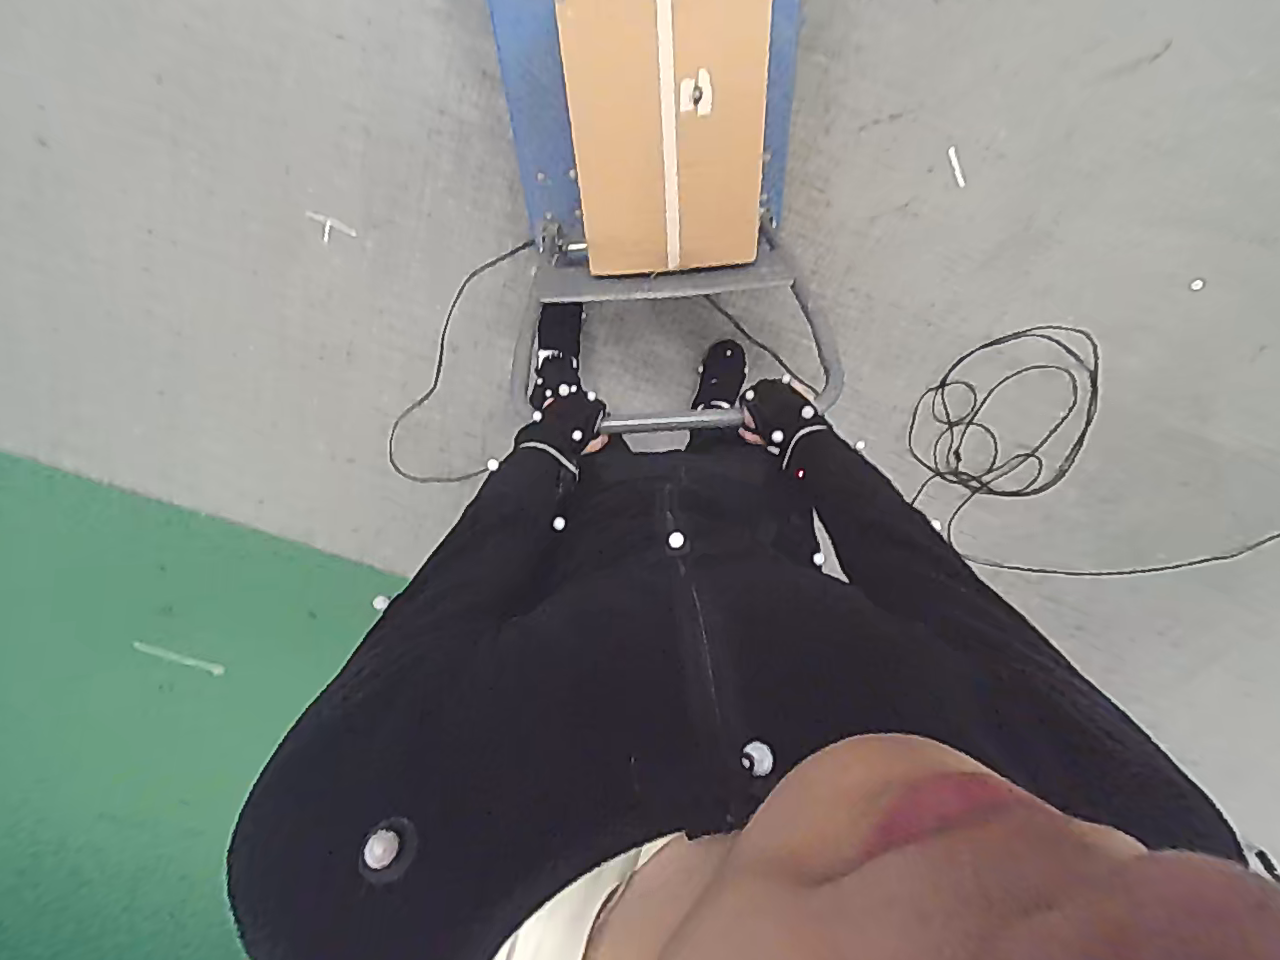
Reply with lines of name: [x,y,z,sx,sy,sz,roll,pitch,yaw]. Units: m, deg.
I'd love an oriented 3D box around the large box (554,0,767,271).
large box: [0.047,-0.651,1.004,0.320,0.320,0.408,-5,129,2]
